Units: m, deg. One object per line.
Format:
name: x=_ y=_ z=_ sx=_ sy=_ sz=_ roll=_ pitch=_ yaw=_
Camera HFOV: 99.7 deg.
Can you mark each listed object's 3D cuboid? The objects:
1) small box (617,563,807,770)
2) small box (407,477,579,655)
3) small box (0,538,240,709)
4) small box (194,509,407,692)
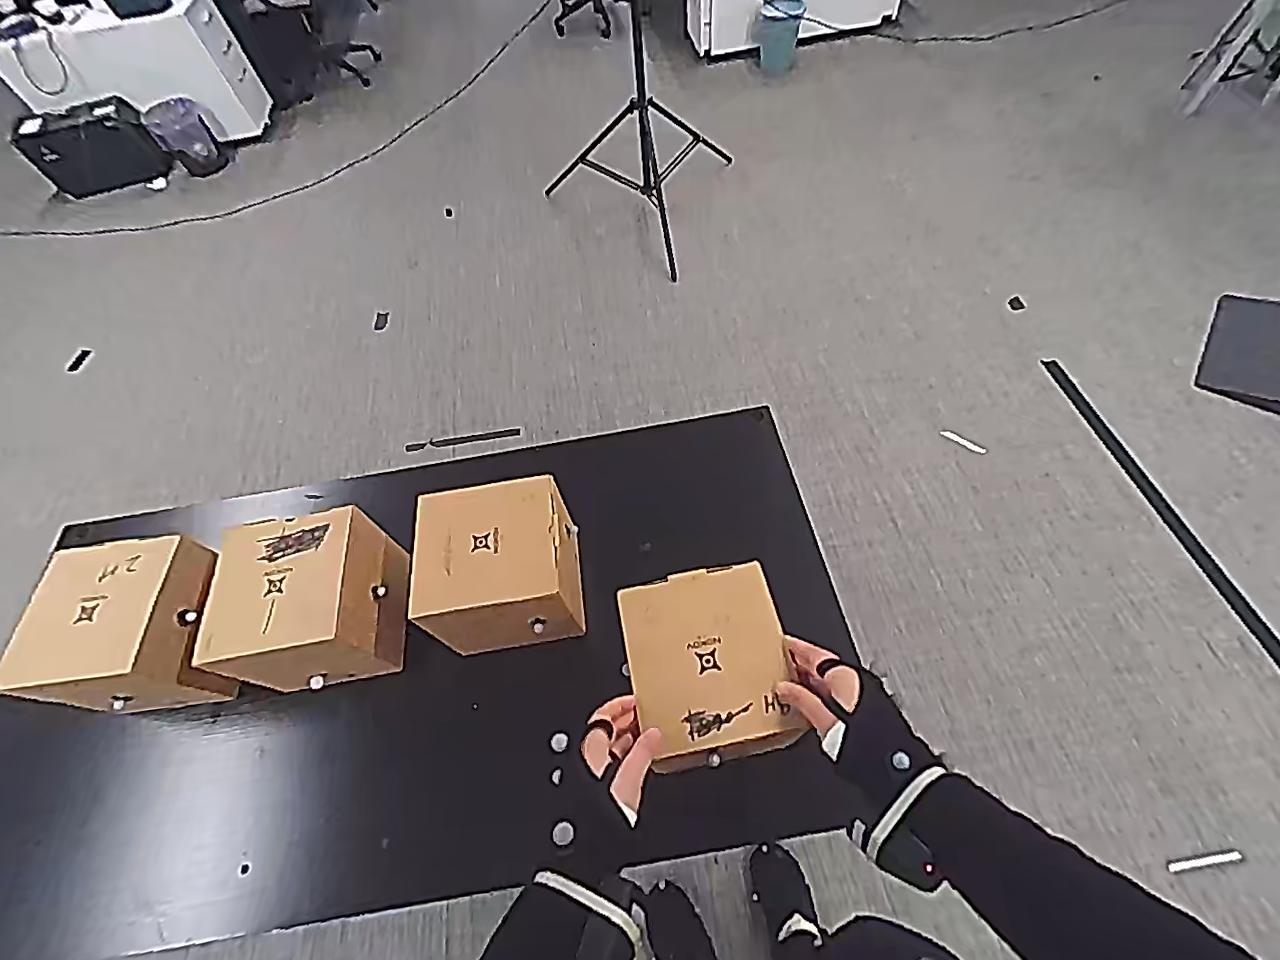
small box: x=0.074 y=0.221 z=0.629 sx=0.168 sy=0.176 sz=0.179 roll=-12 pitch=58 yaw=-1
small box: x=-0.182 y=0.120 z=0.721 sx=0.179 sy=0.176 sz=0.168 roll=-10 pitch=56 yaw=1
small box: x=-0.648 y=0.198 z=0.718 sx=0.168 sy=0.176 sz=0.179 roll=-7 pitch=58 yaw=0
small box: x=-0.426 y=0.164 z=0.716 sx=0.168 sy=0.176 sz=0.179 roll=-11 pitch=59 yaw=-2
